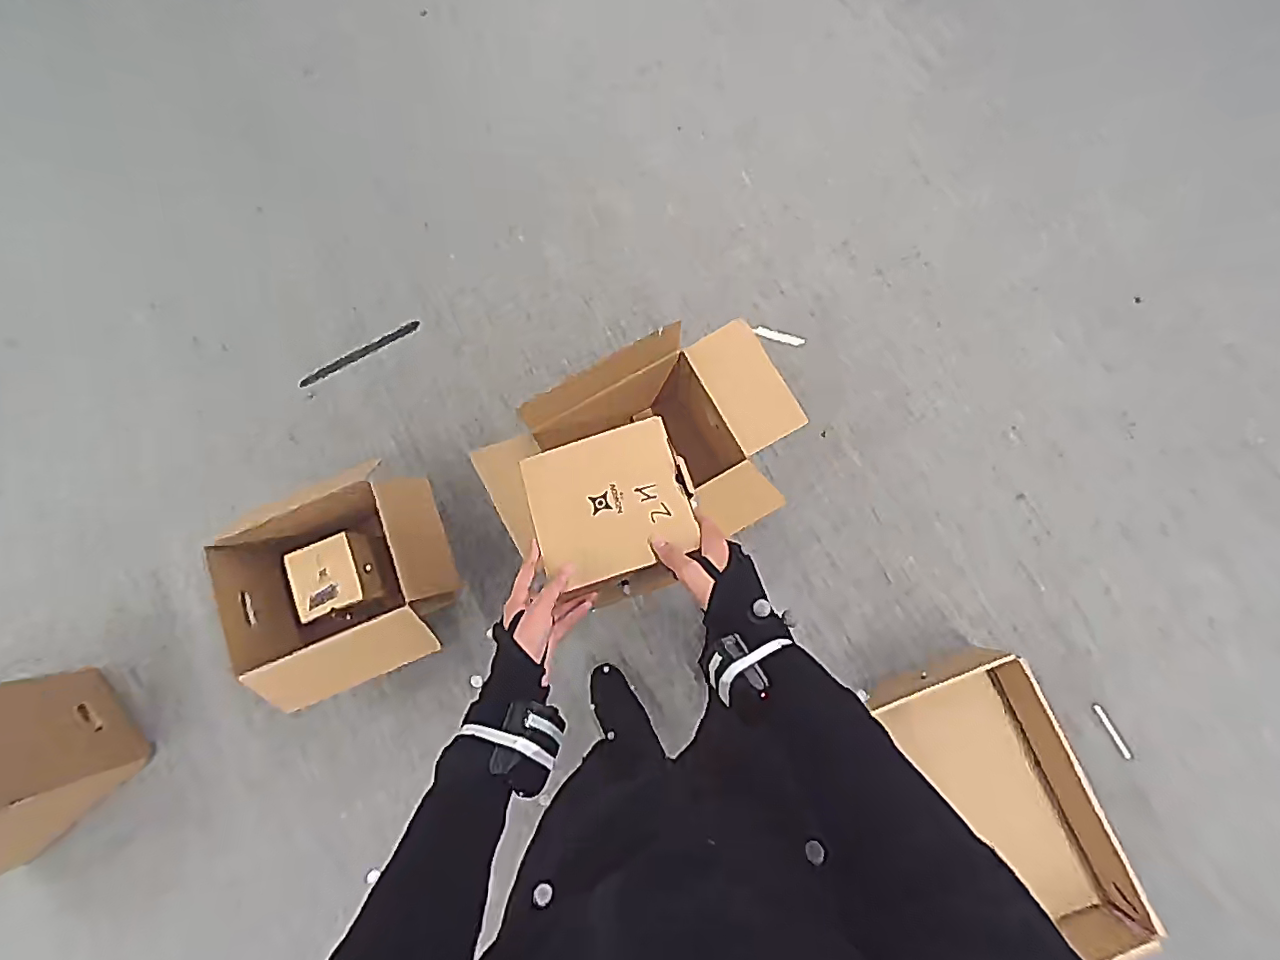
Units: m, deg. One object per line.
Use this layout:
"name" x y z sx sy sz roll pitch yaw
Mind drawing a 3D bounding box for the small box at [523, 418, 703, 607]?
"small box" -0.025 0.051 0.676 0.179 0.176 0.168 -17 70 0
